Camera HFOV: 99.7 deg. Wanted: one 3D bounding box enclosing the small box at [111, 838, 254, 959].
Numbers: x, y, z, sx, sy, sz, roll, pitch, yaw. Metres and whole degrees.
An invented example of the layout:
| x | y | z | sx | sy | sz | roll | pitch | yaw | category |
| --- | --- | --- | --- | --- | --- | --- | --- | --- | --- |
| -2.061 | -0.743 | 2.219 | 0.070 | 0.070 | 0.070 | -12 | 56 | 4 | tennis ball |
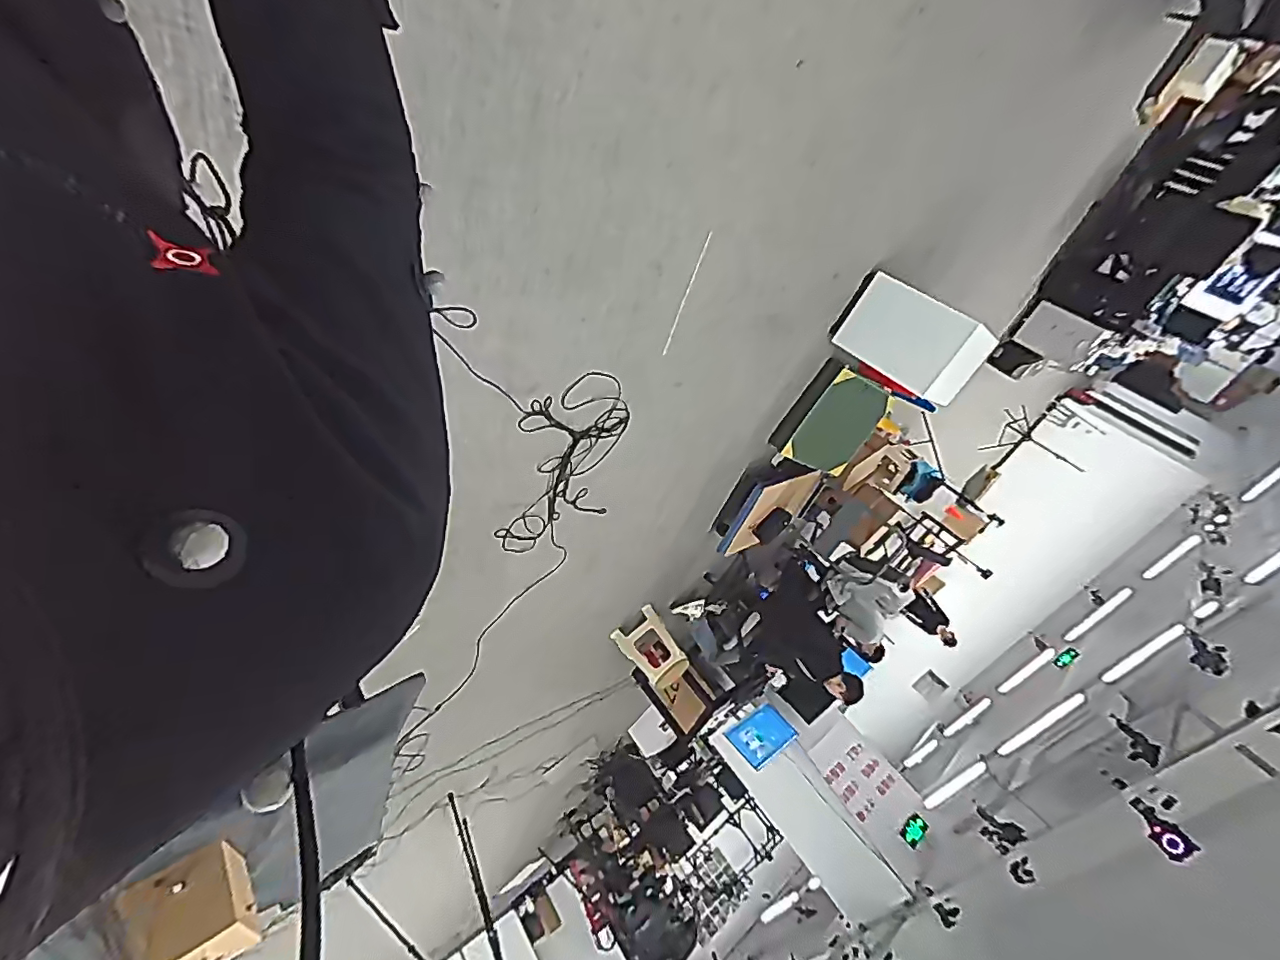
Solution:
| x | y | z | sx | sy | sz | roll | pitch | yaw | category |
| --- | --- | --- | --- | --- | --- | --- | --- | --- | --- |
| -0.890 | 0.846 | 1.059 | 0.168 | 0.176 | 0.179 | -21 | 143 | -35 | small box |
